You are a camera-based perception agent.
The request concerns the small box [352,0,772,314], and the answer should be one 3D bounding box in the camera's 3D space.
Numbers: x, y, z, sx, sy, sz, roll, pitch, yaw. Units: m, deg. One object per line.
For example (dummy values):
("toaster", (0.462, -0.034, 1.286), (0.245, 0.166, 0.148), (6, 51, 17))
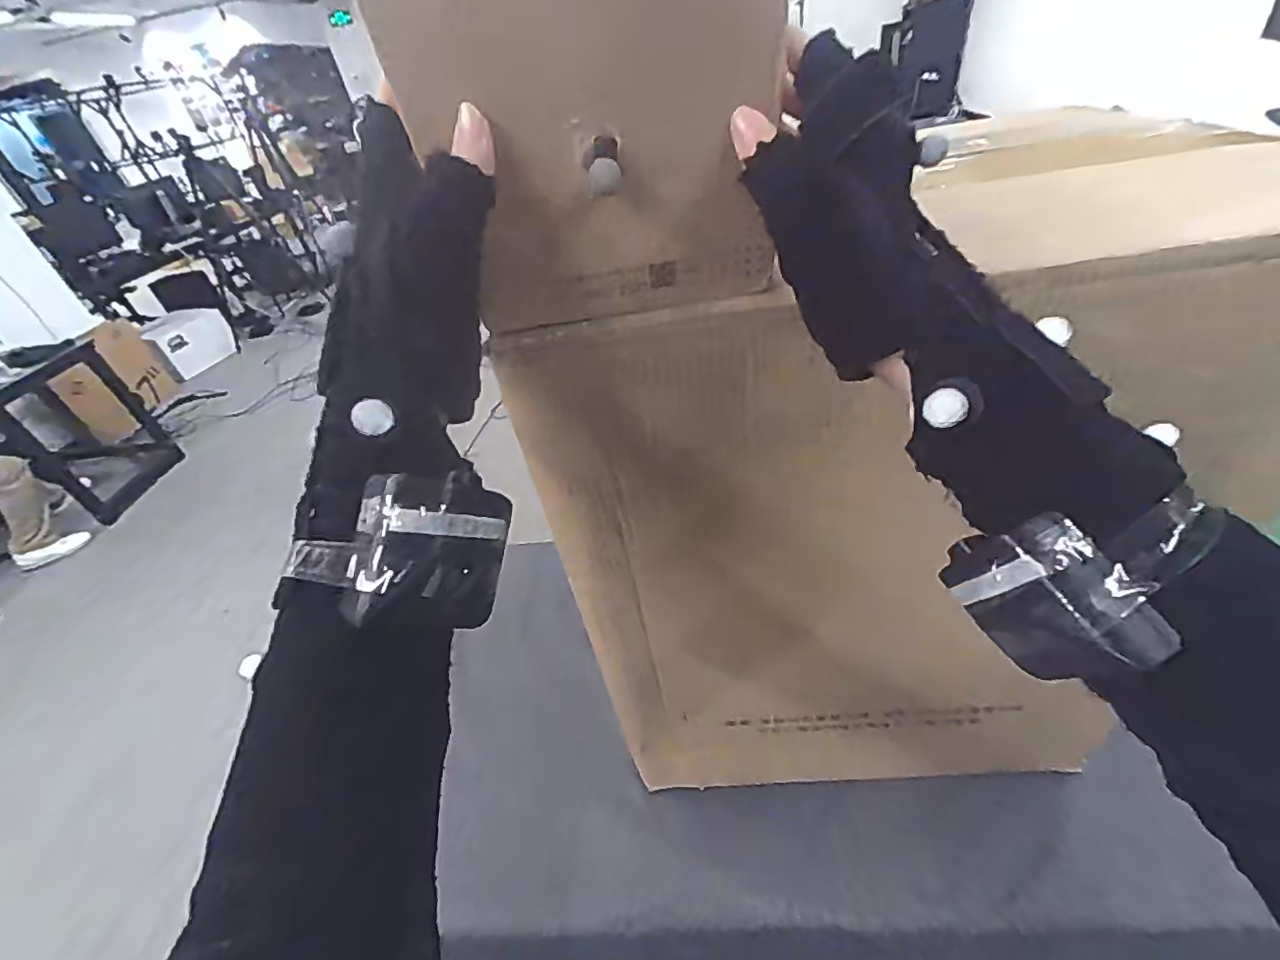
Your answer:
("small box", (-0.020, -0.208, 0.306), (0.168, 0.176, 0.179), (-6, 48, 5))
